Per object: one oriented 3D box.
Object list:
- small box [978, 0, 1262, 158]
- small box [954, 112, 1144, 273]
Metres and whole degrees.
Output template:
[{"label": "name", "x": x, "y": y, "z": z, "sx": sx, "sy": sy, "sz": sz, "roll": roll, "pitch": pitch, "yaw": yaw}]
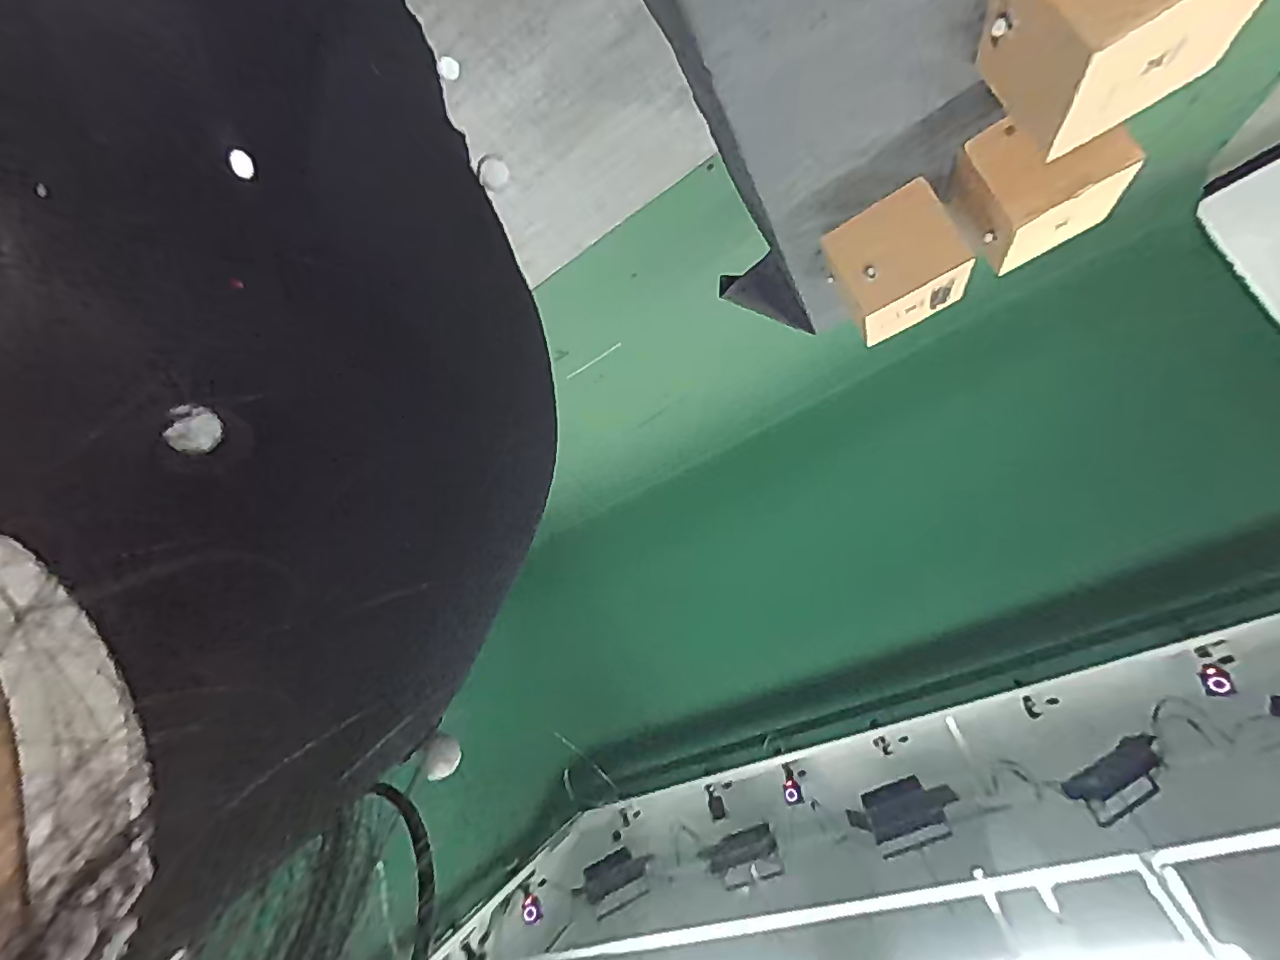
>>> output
[{"label": "small box", "x": 0.496, "y": -0.497, "z": 0.561, "sx": 0.179, "sy": 0.176, "sz": 0.168, "roll": -26, "pitch": 165, "yaw": 18}, {"label": "small box", "x": 0.626, "y": -0.473, "z": 0.858, "sx": 0.168, "sy": 0.176, "sz": 0.179, "roll": -28, "pitch": 165, "yaw": 21}]
